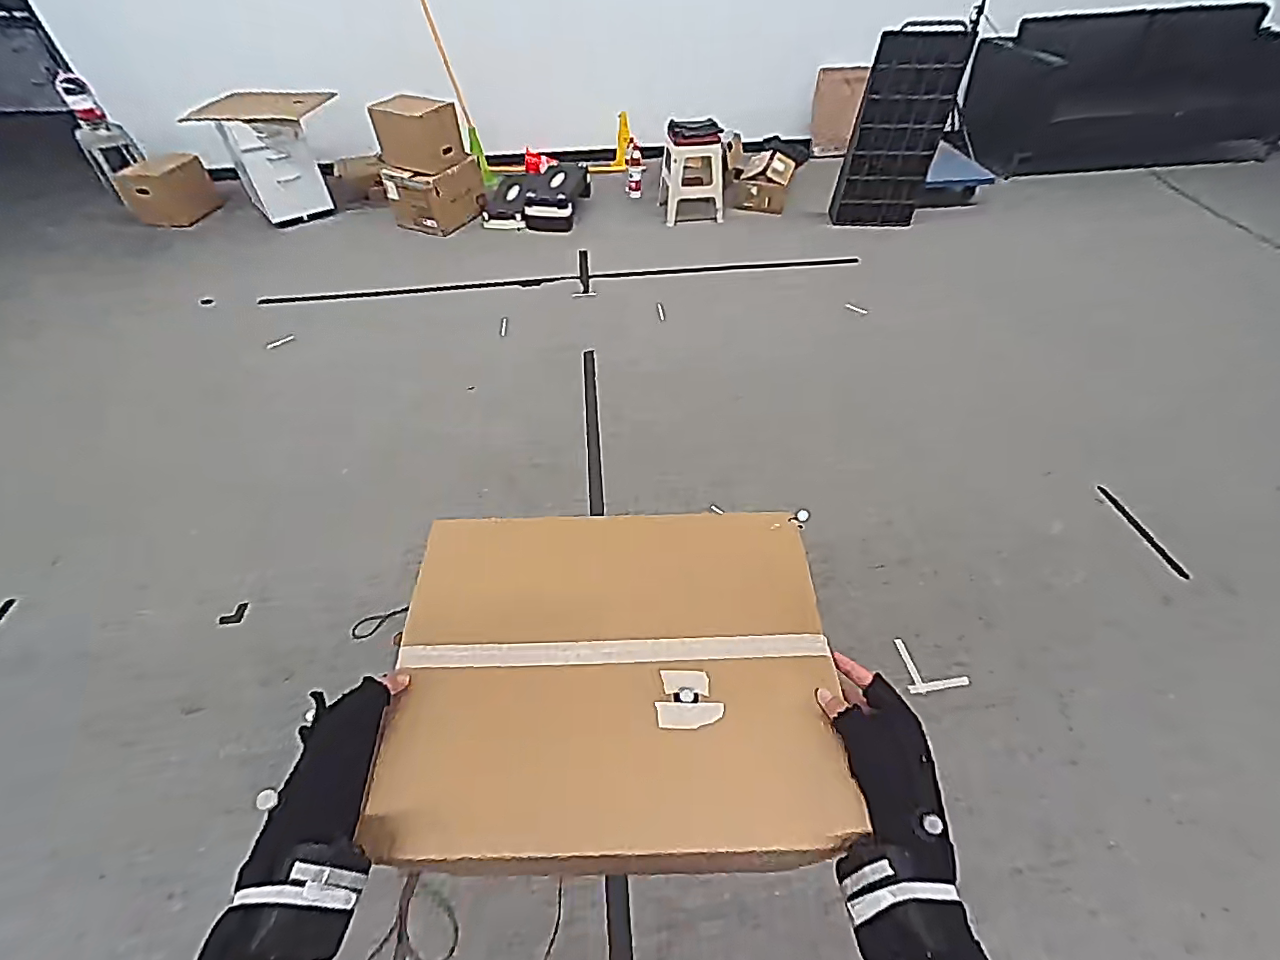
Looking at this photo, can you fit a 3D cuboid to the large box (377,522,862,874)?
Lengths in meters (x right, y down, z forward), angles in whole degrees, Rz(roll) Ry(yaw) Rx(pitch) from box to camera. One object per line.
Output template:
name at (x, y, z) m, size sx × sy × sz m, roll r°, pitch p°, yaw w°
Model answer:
large box at (-0.019, 0.265, 0.643) m, size 0.408 × 0.320 × 0.320 m, roll -1°, pitch 52°, yaw 0°
